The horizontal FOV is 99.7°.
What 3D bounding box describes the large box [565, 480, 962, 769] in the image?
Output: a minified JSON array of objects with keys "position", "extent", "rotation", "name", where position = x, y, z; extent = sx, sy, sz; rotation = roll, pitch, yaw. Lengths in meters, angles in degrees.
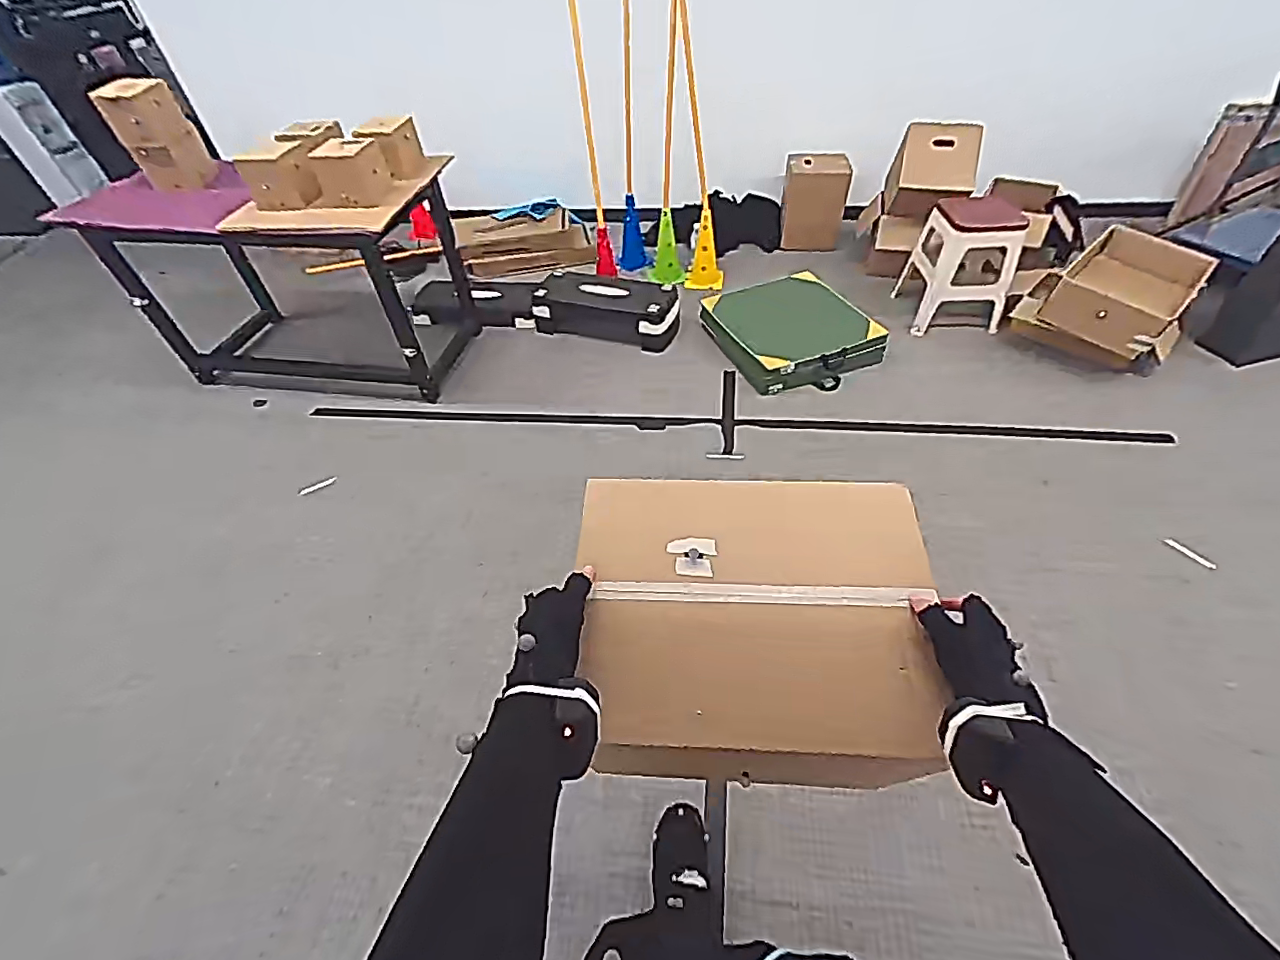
[{"position":[0.136,0.210,0.746],"extent":[0.408,0.320,0.320],"rotation":[1,56,5],"name":"large box"}]
